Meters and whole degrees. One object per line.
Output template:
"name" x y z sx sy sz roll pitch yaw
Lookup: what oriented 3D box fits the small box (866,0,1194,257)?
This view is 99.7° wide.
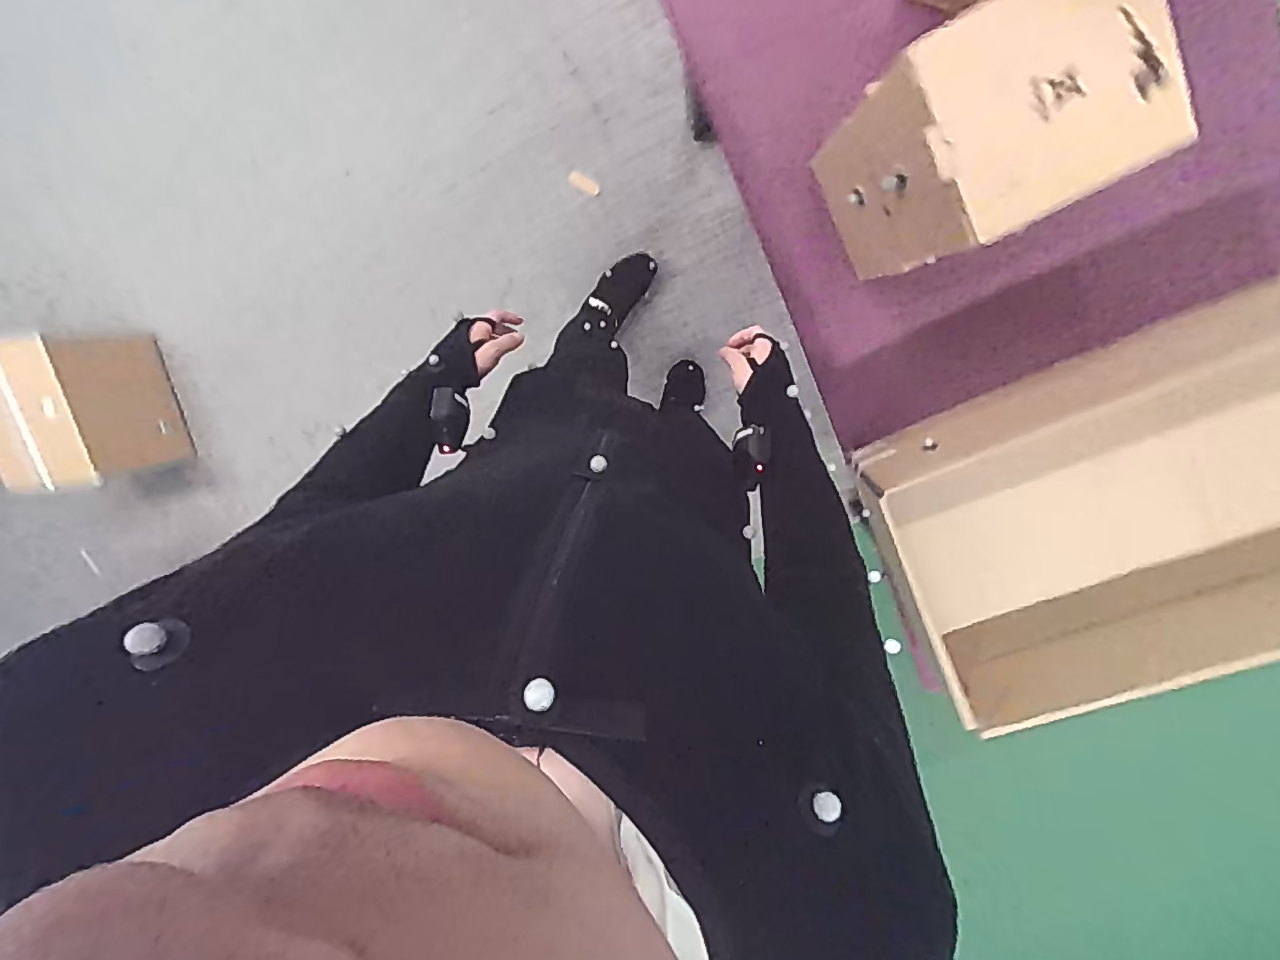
"small box" 0.331 -0.326 0.500 0.179 0.176 0.168 -24 104 12

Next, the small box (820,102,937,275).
"small box" 0.340 -0.371 0.657 0.168 0.176 0.179 -26 103 12
